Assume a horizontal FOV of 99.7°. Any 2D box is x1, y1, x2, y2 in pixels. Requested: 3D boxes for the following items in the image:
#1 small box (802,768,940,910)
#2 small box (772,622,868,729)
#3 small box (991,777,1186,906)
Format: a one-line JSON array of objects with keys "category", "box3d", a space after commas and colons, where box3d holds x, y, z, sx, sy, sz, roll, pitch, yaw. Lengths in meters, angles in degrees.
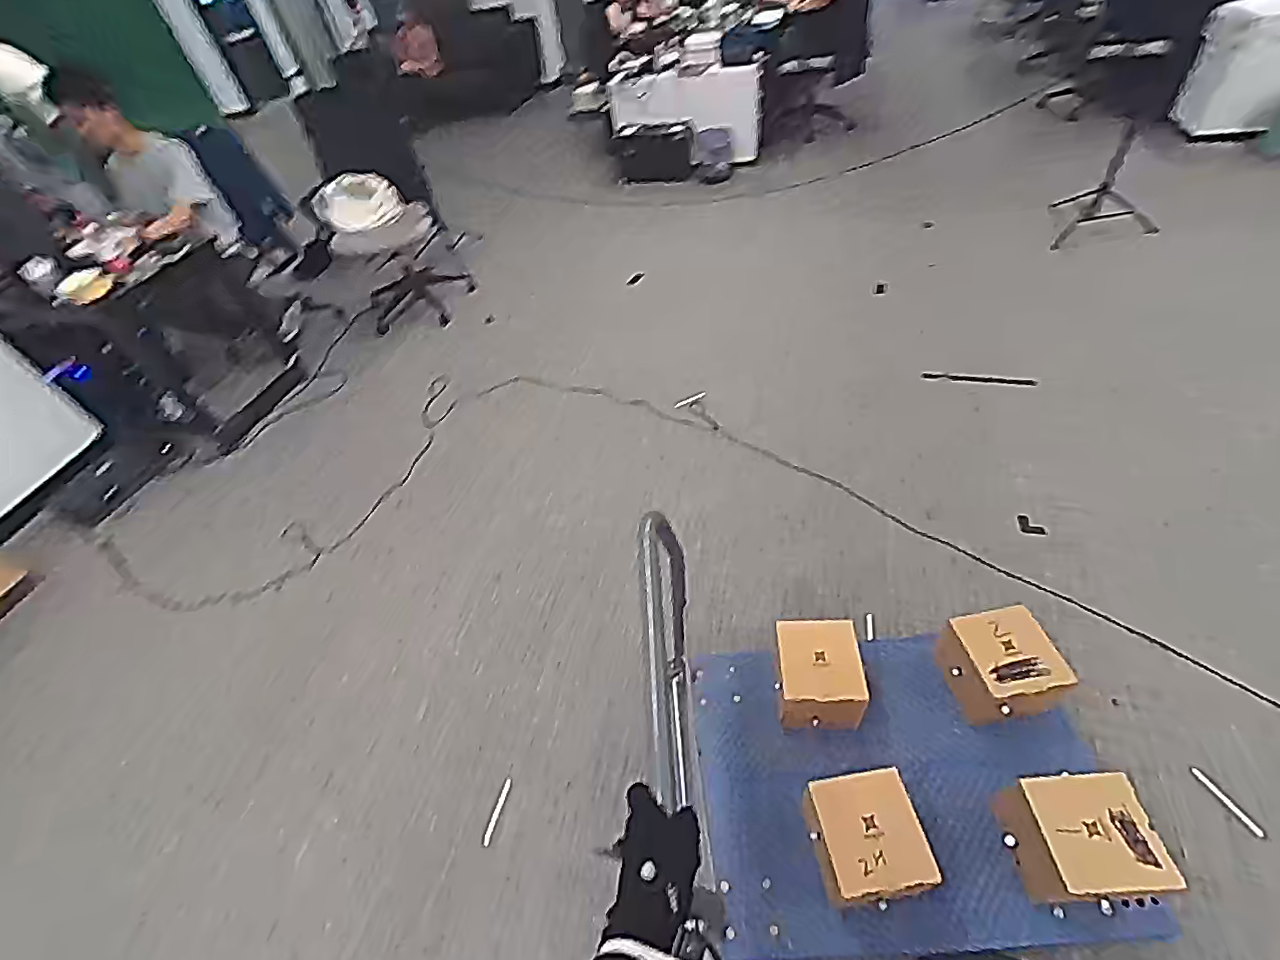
[{"category": "small box", "box3d": [0.406, 0.657, 0.988, 0.168, 0.176, 0.179, -11, 47, 1]}, {"category": "small box", "box3d": [0.389, 0.433, 1.199, 0.168, 0.176, 0.179, -3, 49, 8]}, {"category": "small box", "box3d": [0.761, 0.632, 0.944, 0.179, 0.176, 0.168, -7, 47, 6]}]
